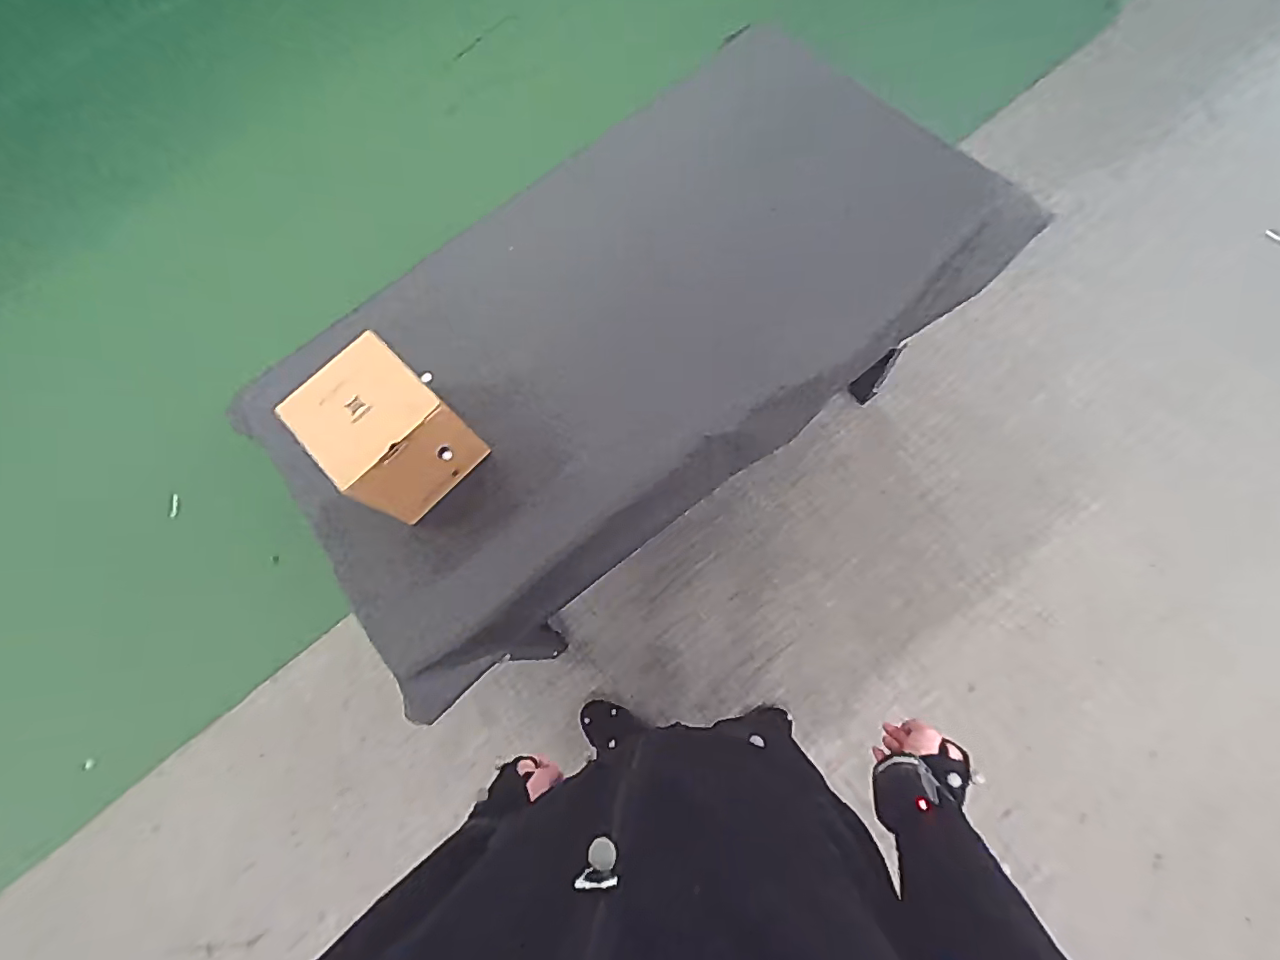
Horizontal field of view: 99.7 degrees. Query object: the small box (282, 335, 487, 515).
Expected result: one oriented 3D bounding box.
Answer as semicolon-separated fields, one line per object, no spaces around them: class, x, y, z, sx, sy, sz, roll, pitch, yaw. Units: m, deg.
small box;-0.356;-0.068;0.787;0.179;0.176;0.168;41;80;18
